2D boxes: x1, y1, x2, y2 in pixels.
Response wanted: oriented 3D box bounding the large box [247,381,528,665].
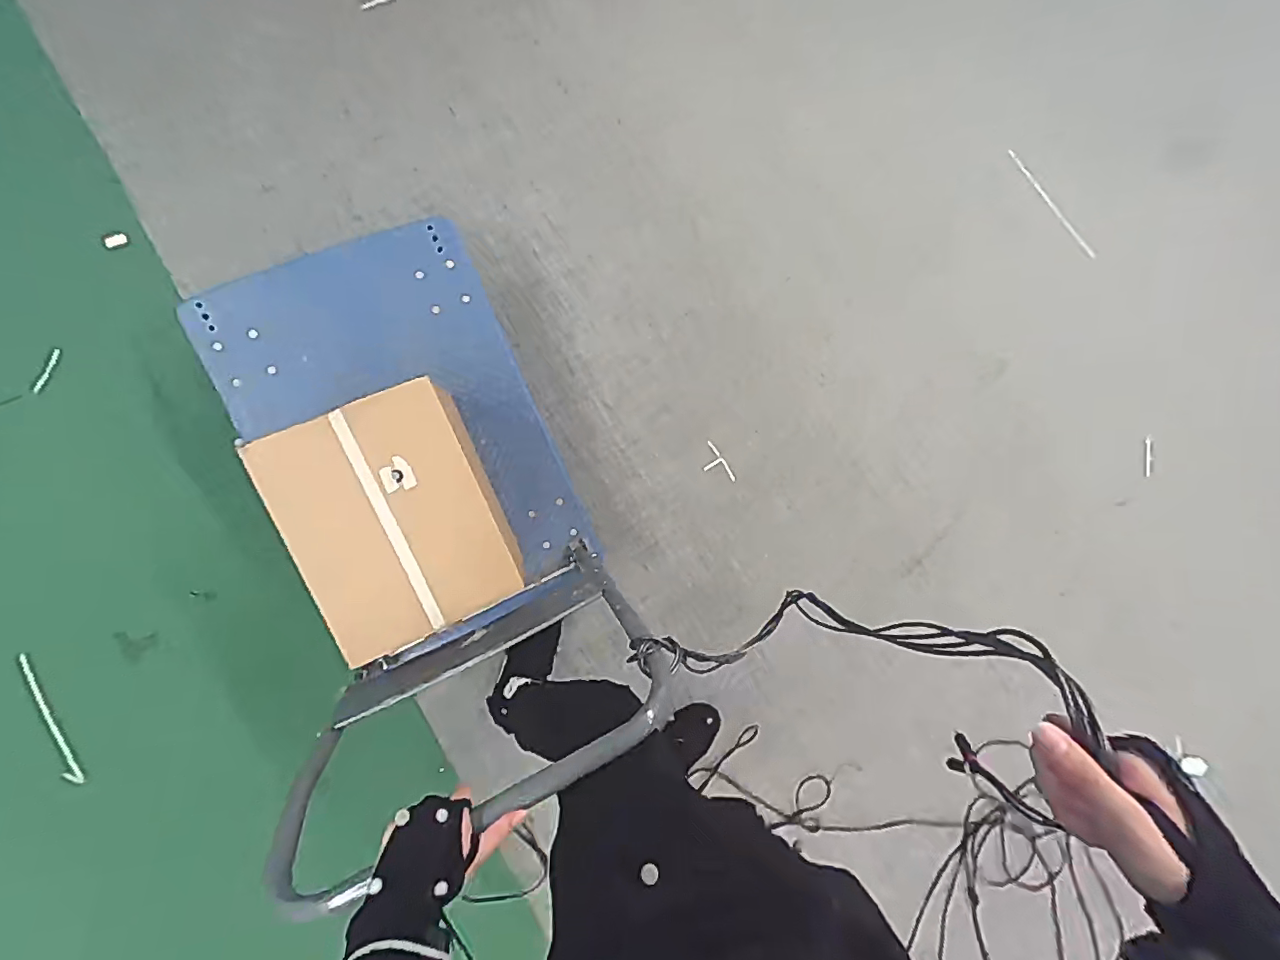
[{"bbox_3d":[-0.441,0.068,1.053,0.320,0.320,0.408,-25,97,-11],"label":"large box"}]
